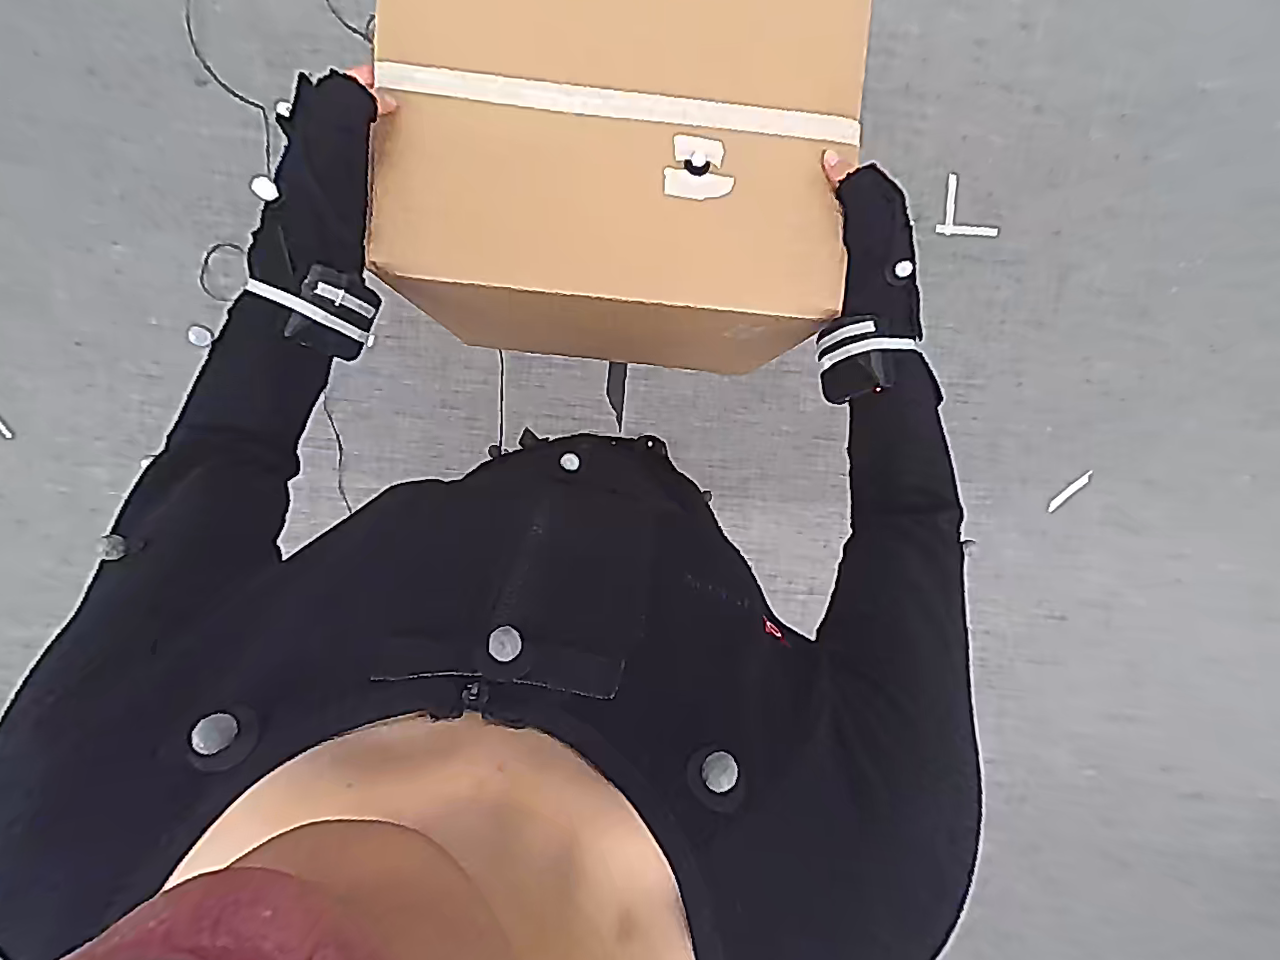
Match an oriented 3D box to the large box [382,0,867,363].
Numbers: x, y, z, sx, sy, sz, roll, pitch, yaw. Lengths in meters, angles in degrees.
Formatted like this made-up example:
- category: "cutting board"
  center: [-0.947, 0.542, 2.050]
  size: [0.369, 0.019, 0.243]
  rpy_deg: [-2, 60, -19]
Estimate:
- category: "large box"
  center: [-0.020, -0.325, 0.608]
  size: [0.408, 0.320, 0.320]
  rpy_deg: [5, 93, -3]
